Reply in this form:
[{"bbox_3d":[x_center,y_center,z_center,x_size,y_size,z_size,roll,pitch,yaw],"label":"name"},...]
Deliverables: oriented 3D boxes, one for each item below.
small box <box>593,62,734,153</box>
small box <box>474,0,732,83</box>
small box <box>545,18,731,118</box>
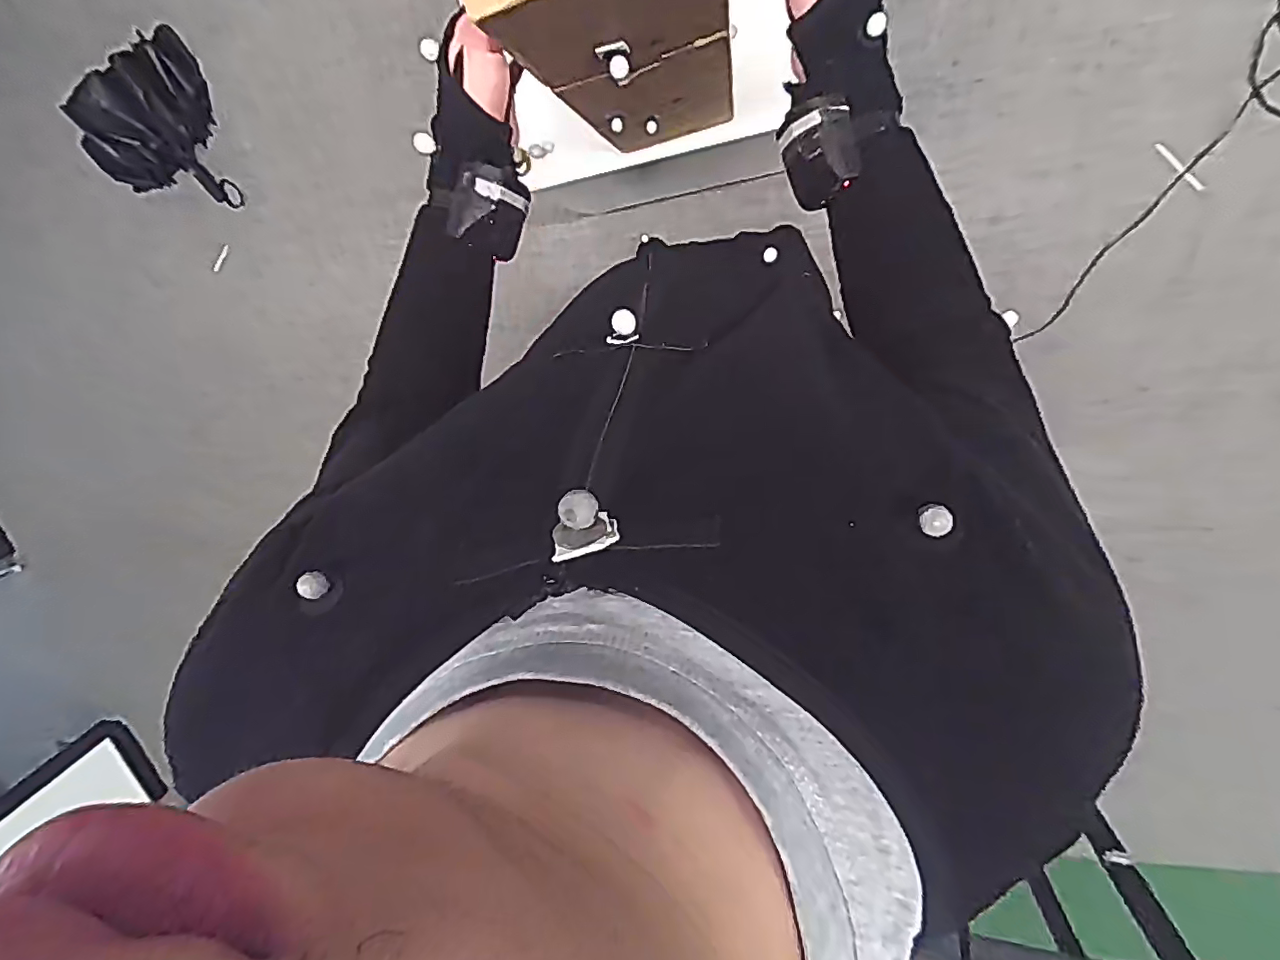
[{"bbox_3d":[0.019,-0.535,0.665,0.168,0.176,0.179,-10,109,15],"label":"small box"},{"bbox_3d":[-0.033,-0.414,0.364,0.168,0.176,0.179,-10,110,15],"label":"small box"},{"bbox_3d":[-0.008,-0.474,0.514,0.168,0.176,0.179,-9,109,13],"label":"small box"}]
